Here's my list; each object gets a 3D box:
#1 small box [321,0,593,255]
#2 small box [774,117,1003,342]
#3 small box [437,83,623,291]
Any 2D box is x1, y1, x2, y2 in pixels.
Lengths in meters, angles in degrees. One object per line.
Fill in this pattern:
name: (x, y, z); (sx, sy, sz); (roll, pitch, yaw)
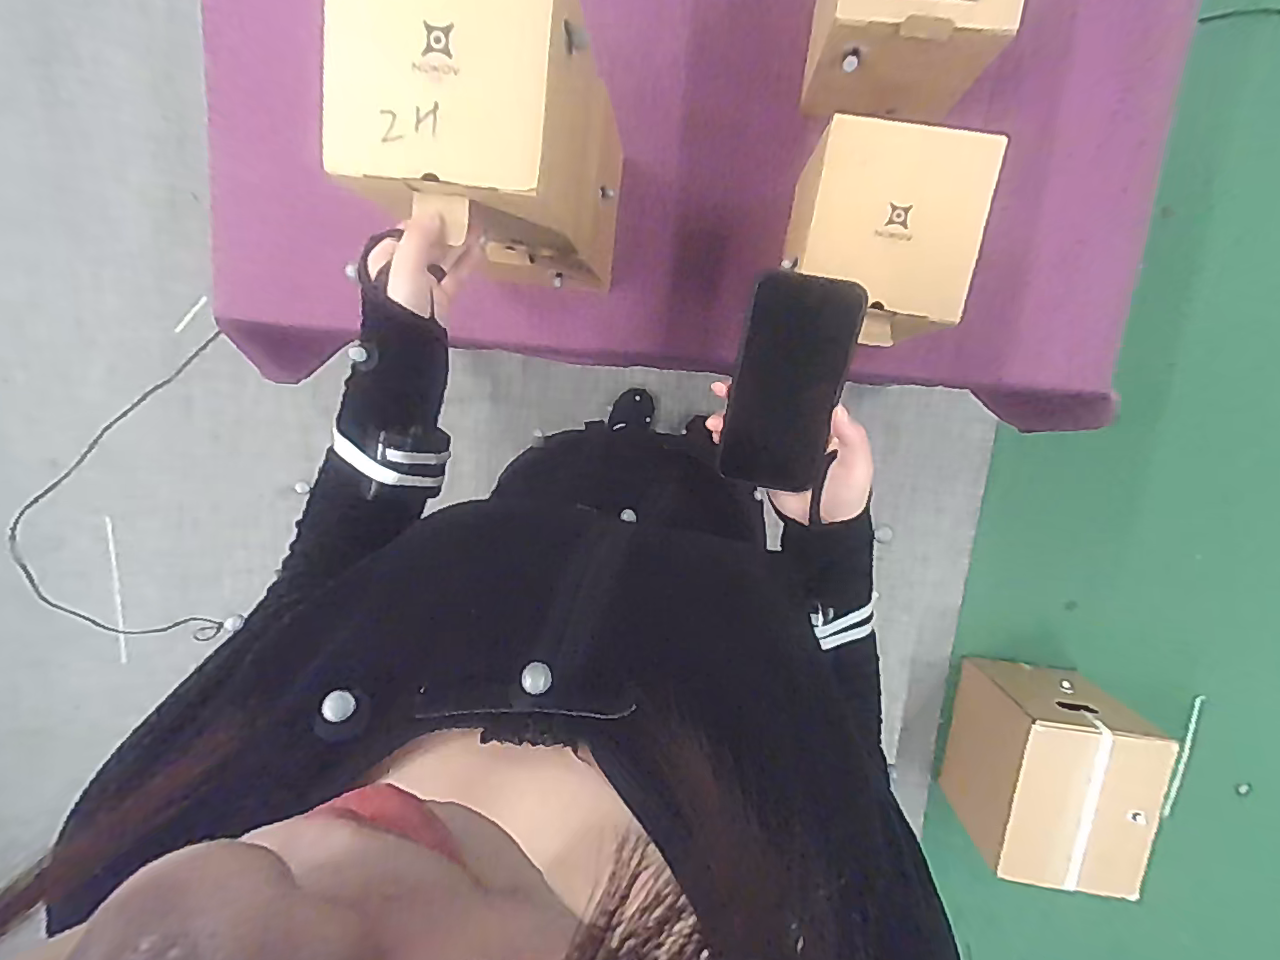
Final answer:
small box: (-0.139, -0.315, 0.465); (0.168, 0.176, 0.179); (9, 99, 3)
small box: (0.256, -0.262, 0.606); (0.168, 0.176, 0.179); (11, 100, 4)
small box: (-0.116, -0.329, 0.629); (0.168, 0.176, 0.179); (8, 99, 3)
